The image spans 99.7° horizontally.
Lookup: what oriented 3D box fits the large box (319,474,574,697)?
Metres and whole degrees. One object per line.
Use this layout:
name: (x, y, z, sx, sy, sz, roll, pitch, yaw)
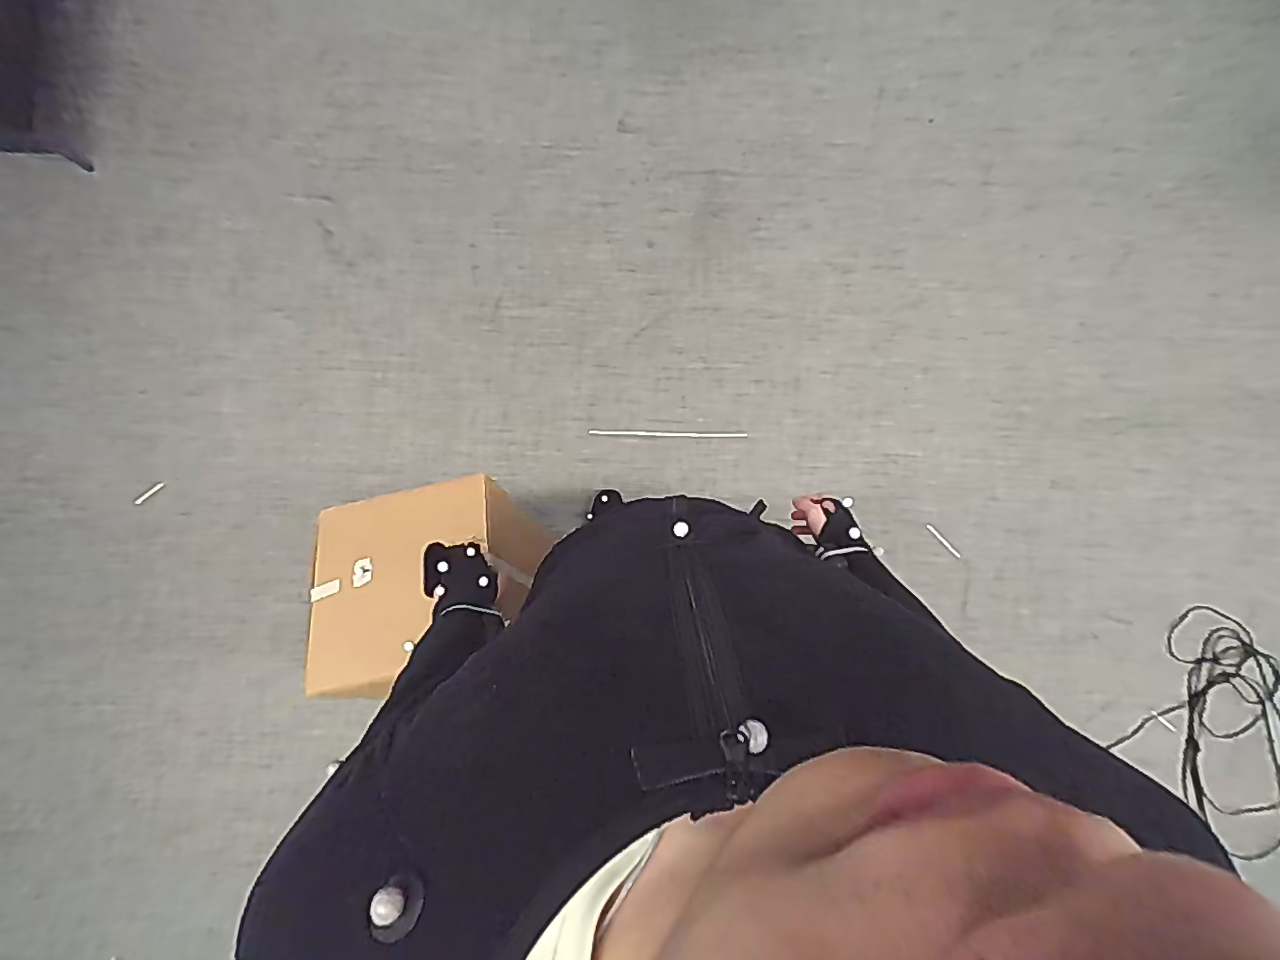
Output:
large box: (-0.349, 0.228, 1.055, 0.320, 0.408, 0.320, -13, 67, 5)
